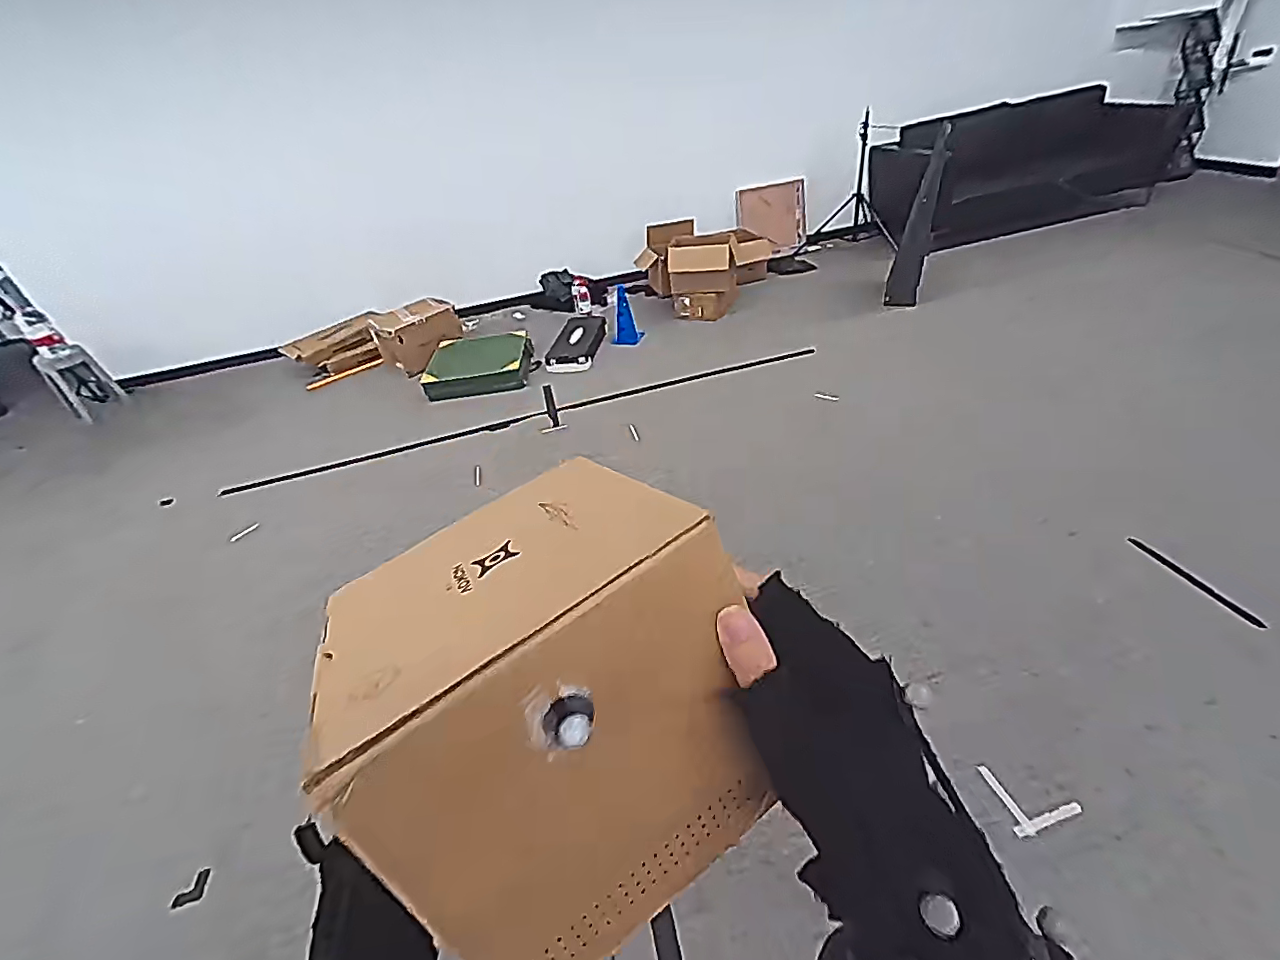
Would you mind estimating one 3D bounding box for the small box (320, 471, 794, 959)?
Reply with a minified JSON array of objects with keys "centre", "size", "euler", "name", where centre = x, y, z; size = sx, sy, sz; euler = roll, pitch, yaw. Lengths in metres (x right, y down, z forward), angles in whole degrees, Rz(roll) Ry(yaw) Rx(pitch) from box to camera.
[{"centre":[-0.042,0.118,0.306],"size":[0.179,0.176,0.168],"euler":[-31,22,-20],"name":"small box"}]
